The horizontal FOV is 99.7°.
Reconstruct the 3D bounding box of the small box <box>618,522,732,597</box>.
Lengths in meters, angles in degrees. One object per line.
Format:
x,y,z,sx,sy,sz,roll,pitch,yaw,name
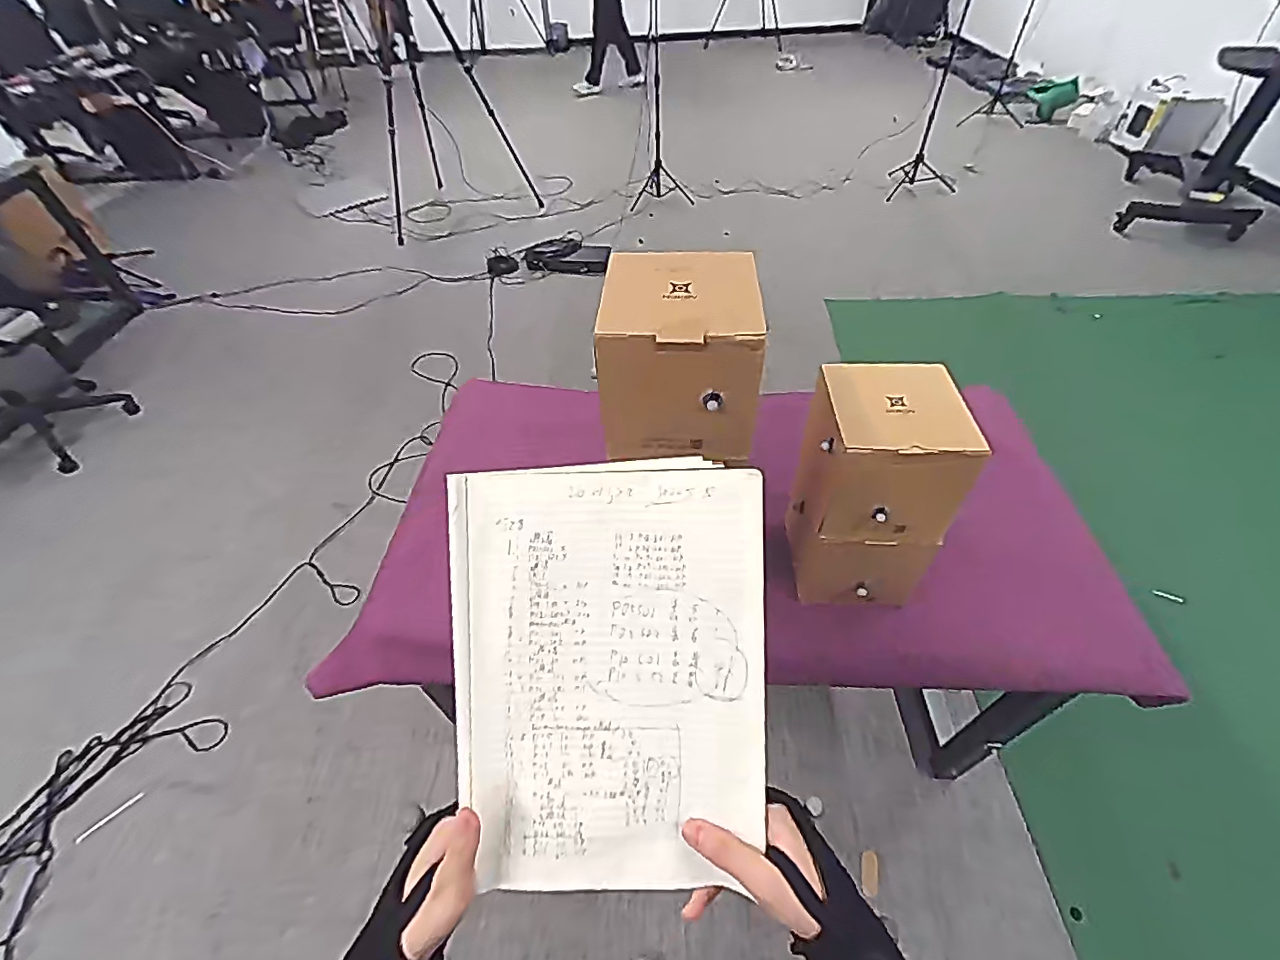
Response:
0.059,0.075,0.876,0.168,0.176,0.179,1,48,4,small box

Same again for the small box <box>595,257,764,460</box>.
0.047,-0.139,0.627,0.168,0.176,0.179,2,47,4,small box

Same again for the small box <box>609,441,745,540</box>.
0.053,-0.032,0.750,0.168,0.176,0.179,1,46,4,small box

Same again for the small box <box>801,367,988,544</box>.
0.326,-0.035,0.739,0.168,0.176,0.179,1,47,4,small box
